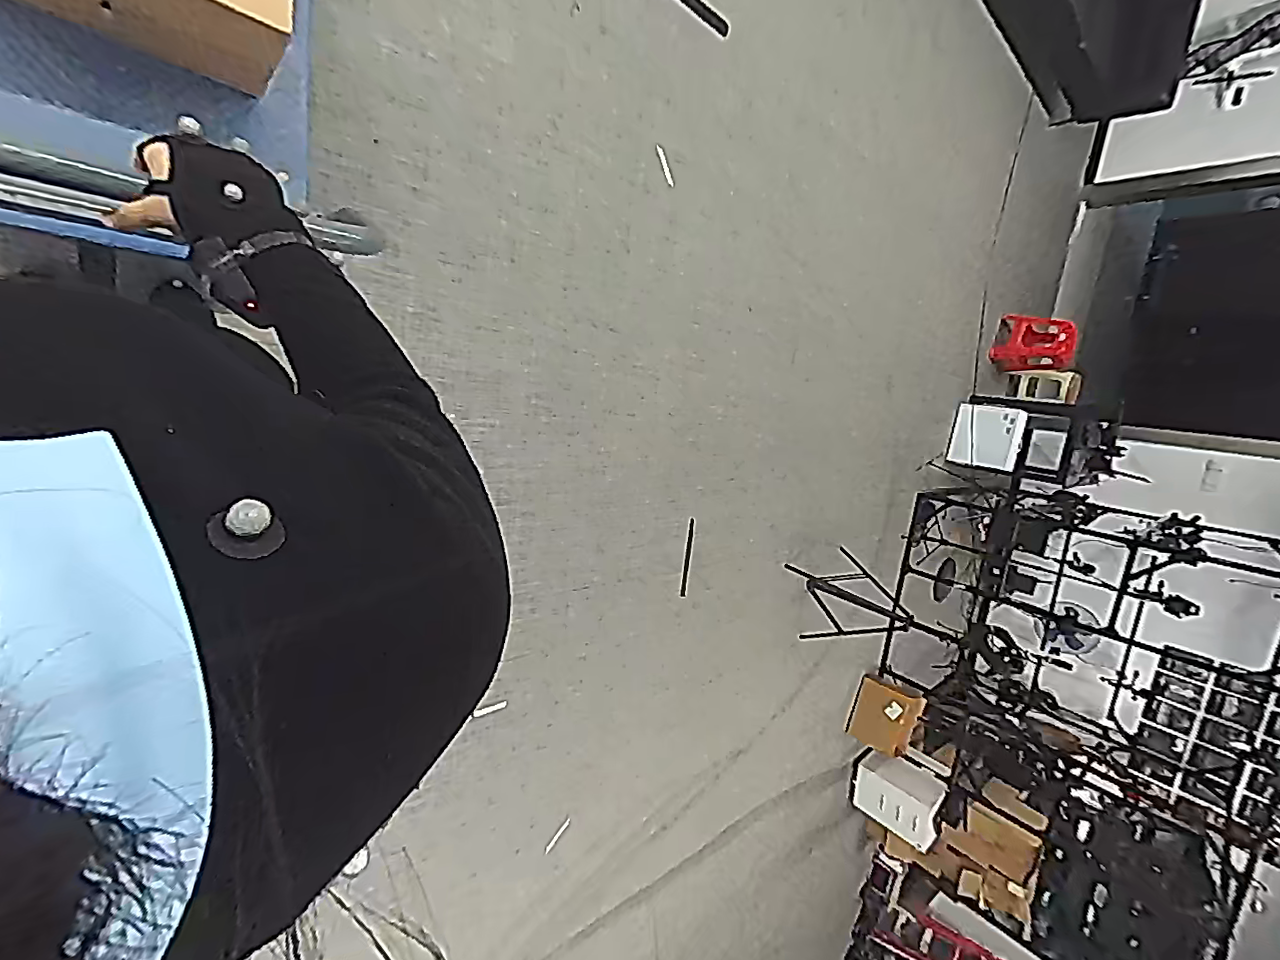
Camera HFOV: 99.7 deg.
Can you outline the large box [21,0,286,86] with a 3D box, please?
[{"bbox_3d":[-0.743,-0.835,0.741,0.408,0.320,0.320,-1,102,-42],"label":"large box"}]
